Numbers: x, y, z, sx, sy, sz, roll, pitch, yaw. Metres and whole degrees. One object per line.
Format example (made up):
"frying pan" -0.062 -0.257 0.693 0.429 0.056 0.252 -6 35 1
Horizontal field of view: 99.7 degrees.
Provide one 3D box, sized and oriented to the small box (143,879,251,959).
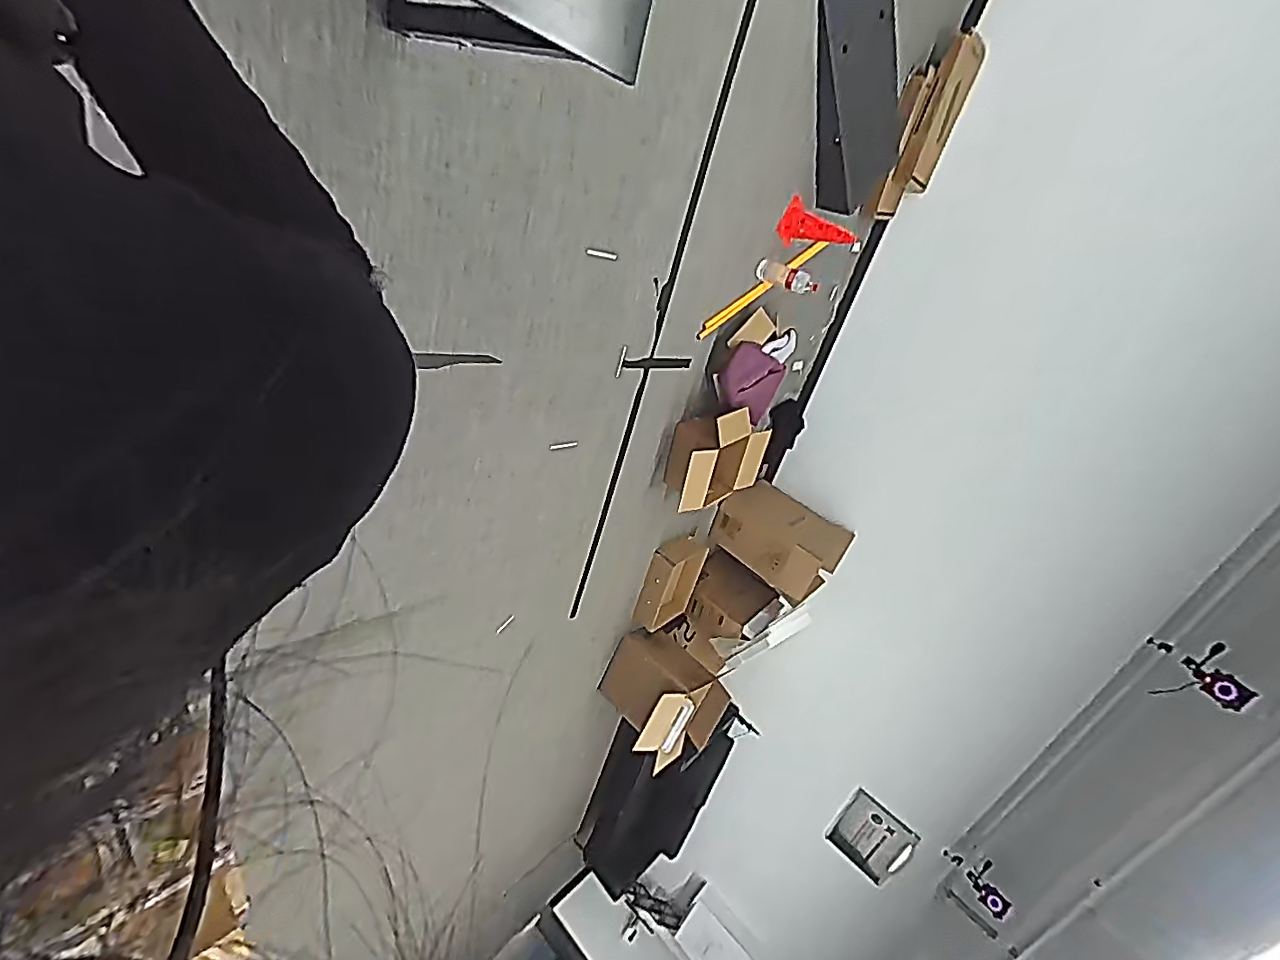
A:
"small box" -1.131 1.181 1.383 0.168 0.176 0.179 -21 131 -46
